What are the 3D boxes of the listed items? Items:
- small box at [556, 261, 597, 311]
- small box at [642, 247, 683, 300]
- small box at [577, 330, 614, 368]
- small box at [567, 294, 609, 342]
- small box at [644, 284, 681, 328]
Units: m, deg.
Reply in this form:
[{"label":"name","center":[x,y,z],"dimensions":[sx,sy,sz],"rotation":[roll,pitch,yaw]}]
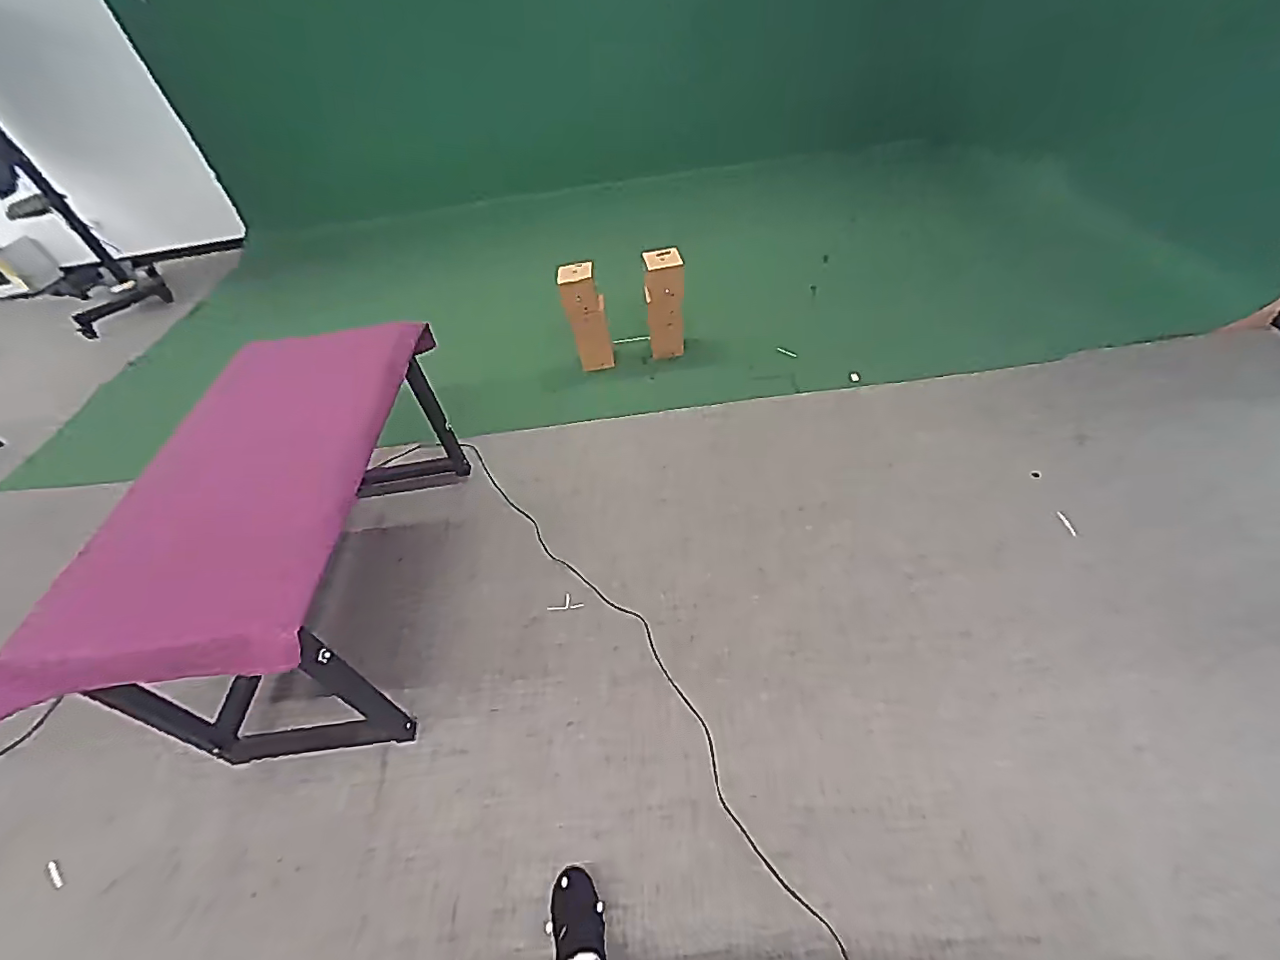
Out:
[{"label":"small box","center":[-0.302,-0.930,2.612],"dimensions":[0.168,0.176,0.179],"rotation":[-8,46,4]},{"label":"small box","center":[0.108,-0.991,2.596],"dimensions":[0.168,0.176,0.179],"rotation":[-11,48,-2]},{"label":"small box","center":[-0.234,-0.702,2.840],"dimensions":[0.168,0.176,0.179],"rotation":[-9,45,3]},{"label":"small box","center":[-0.259,-0.810,2.719],"dimensions":[0.179,0.176,0.168],"rotation":[-8,46,2]},{"label":"small box","center":[0.113,-0.879,2.716],"dimensions":[0.168,0.176,0.179],"rotation":[-7,47,2]}]
